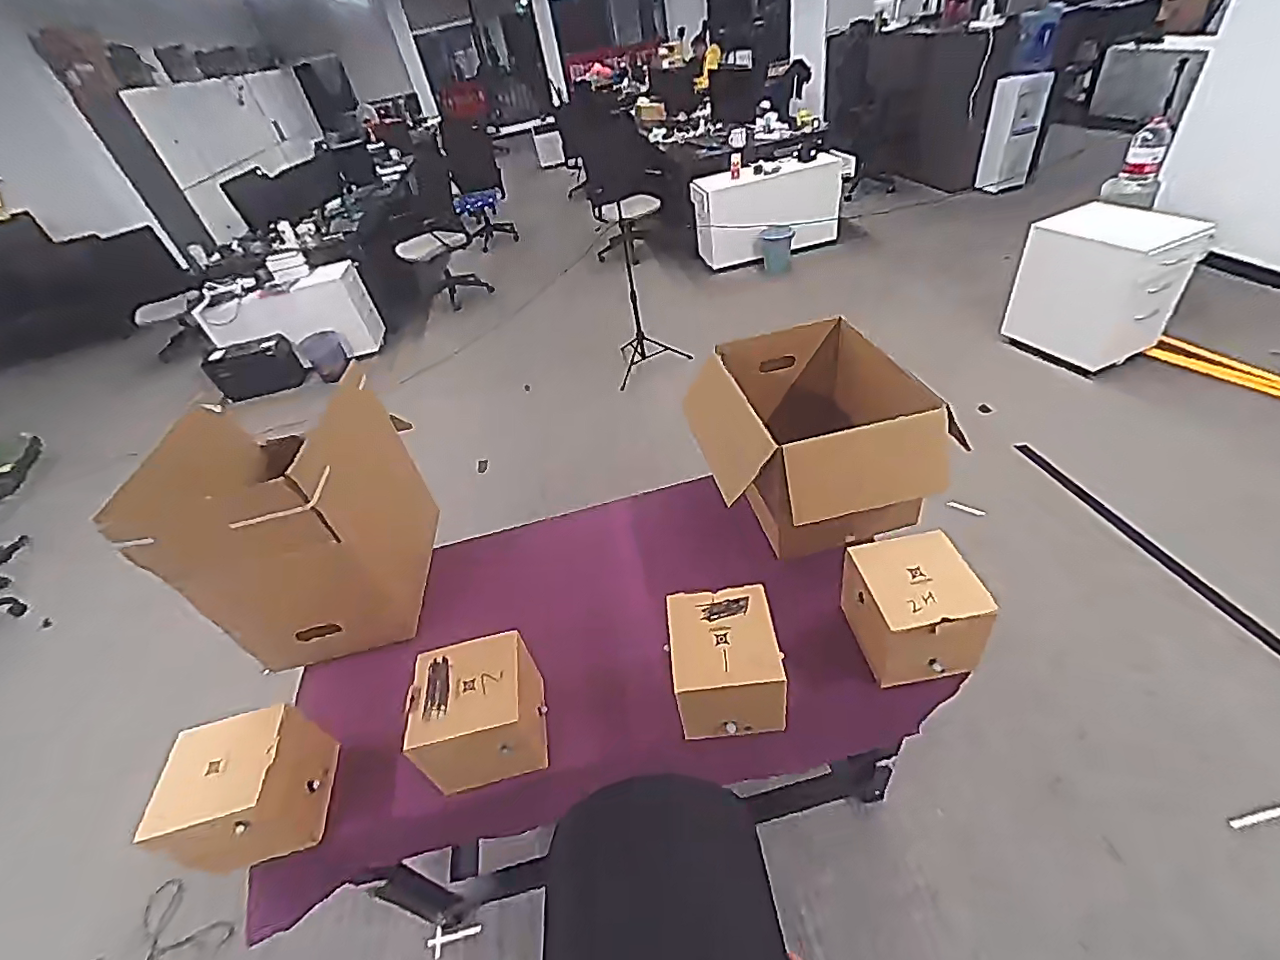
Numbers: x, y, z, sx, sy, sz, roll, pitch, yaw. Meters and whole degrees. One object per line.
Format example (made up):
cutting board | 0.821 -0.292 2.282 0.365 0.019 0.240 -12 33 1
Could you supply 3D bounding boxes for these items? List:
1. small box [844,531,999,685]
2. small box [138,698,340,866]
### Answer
small box | 0.457 0.216 0.915 0.168 0.176 0.179 -12 40 3
small box | -0.628 0.490 0.875 0.179 0.176 0.168 -15 40 -5
